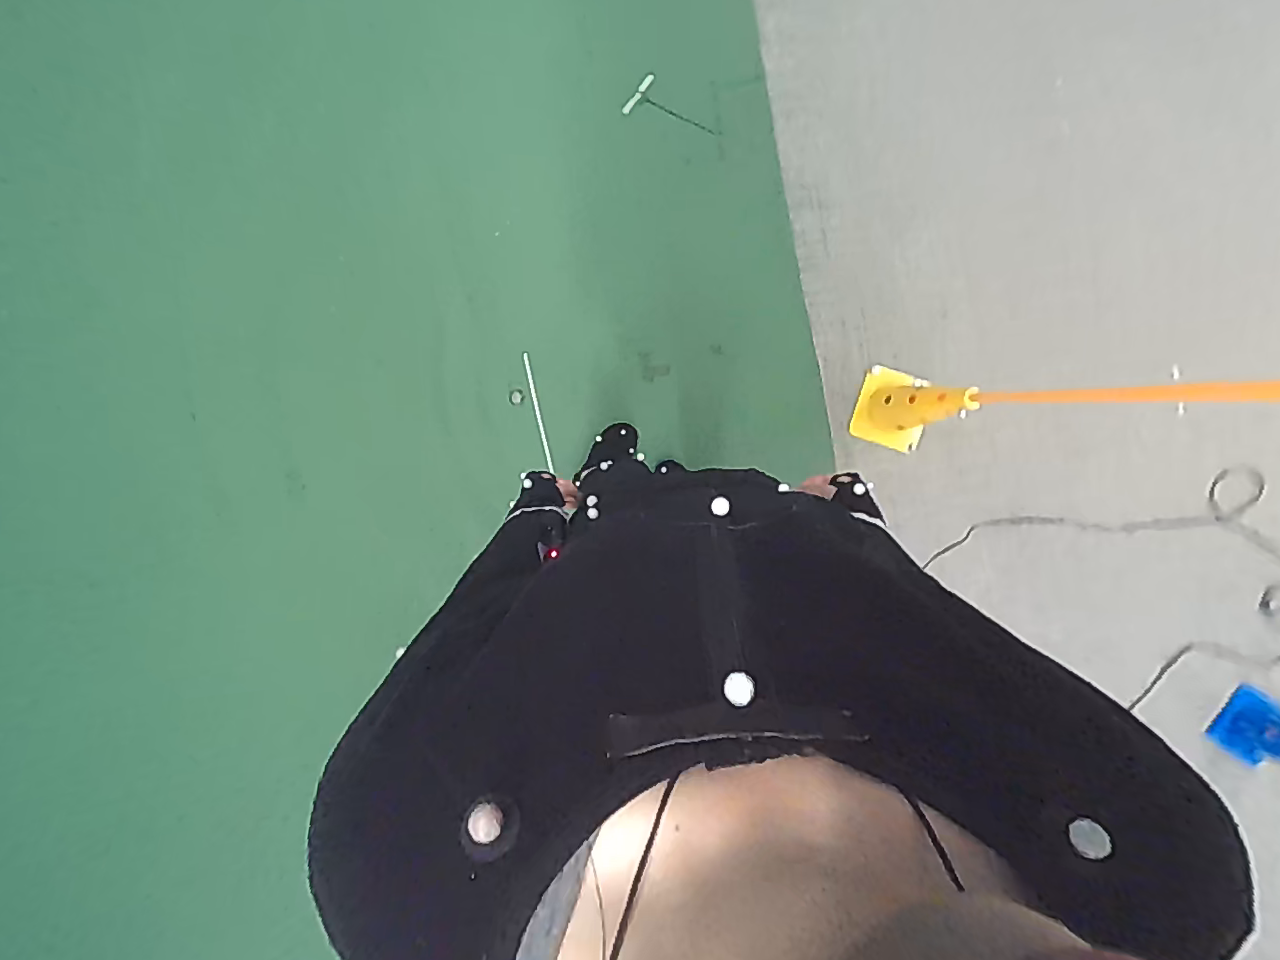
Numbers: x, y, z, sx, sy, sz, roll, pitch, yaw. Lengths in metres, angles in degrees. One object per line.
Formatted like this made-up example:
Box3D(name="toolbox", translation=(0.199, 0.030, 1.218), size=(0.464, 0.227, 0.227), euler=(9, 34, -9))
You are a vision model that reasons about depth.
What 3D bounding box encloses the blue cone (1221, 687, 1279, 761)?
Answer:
Box3D(name="blue cone", translation=(1.816, 0.721, 1.409), size=(0.193, 0.380, 0.192), euler=(32, 91, -6))
